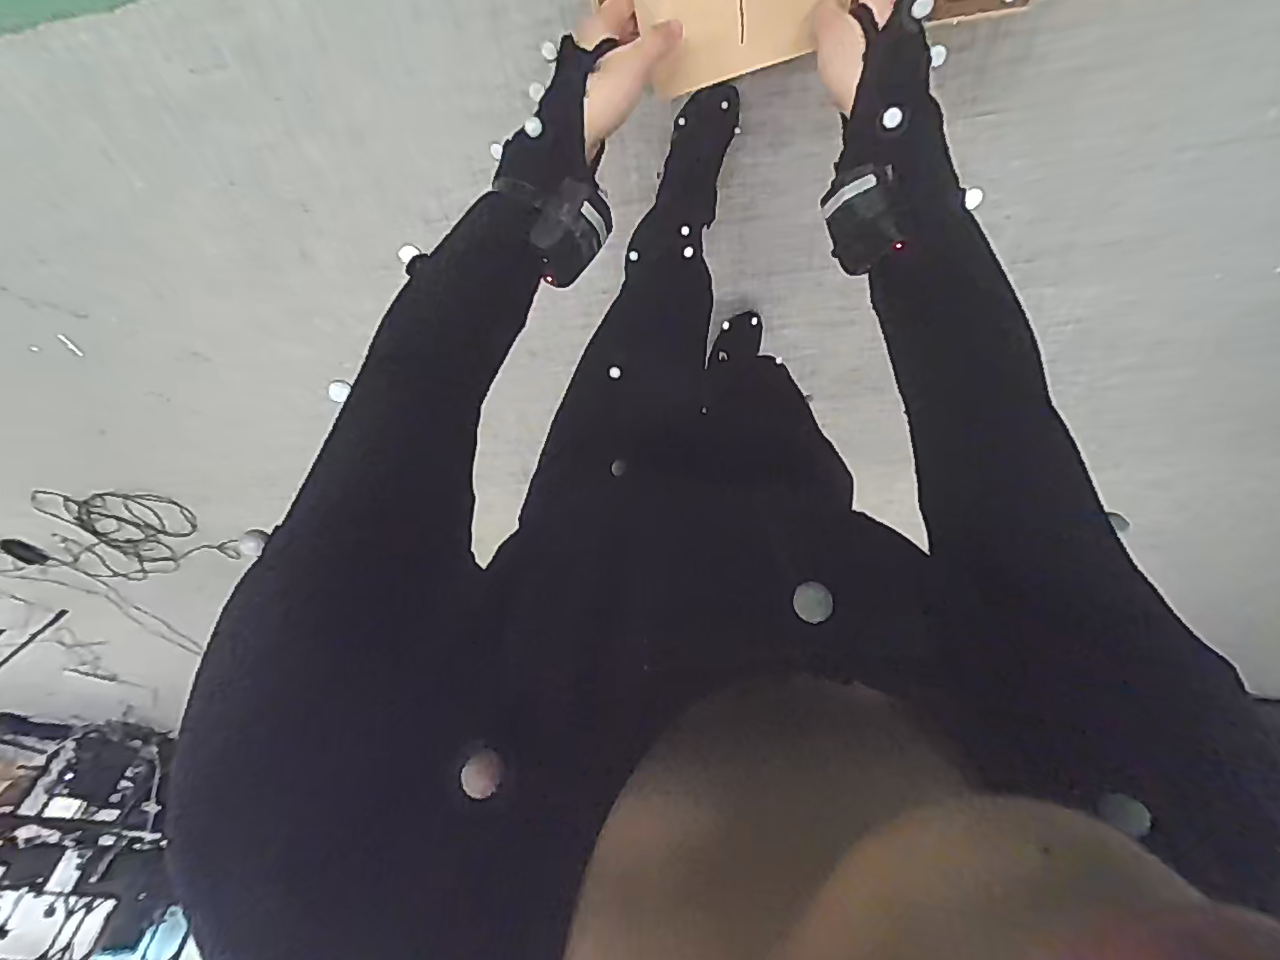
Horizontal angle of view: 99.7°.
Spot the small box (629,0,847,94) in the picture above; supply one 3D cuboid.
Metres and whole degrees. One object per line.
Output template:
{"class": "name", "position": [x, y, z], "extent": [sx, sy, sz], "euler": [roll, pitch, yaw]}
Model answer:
{"class": "small box", "position": [0.068, -0.463, 0.442], "extent": [0.168, 0.176, 0.179], "euler": [-8, 139, 16]}
